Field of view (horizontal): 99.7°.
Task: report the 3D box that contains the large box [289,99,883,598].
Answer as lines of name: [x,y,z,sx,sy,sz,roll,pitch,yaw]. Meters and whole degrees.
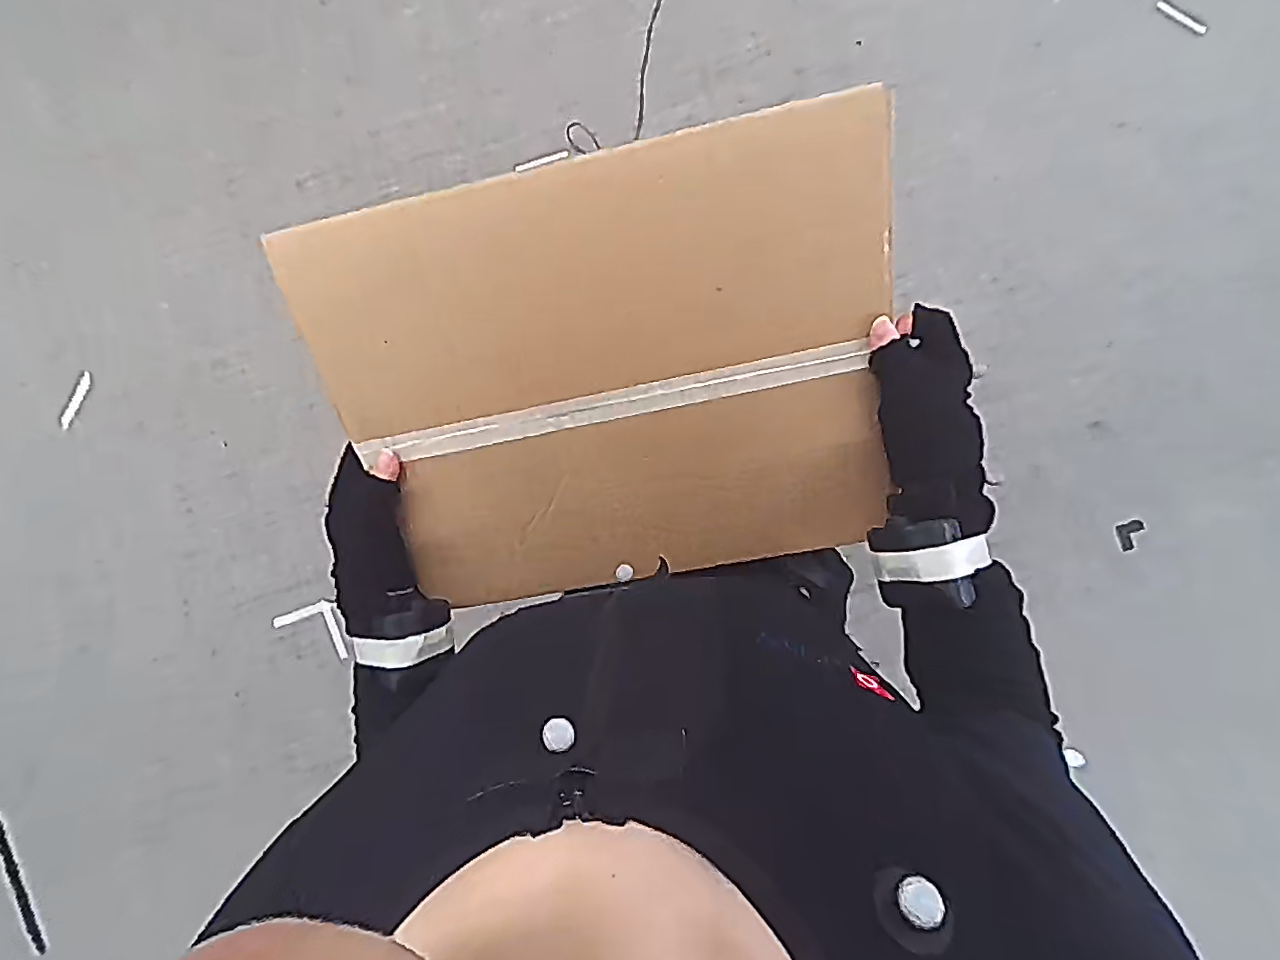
large box: [-0.017,-0.128,0.549,0.408,0.320,0.320,-11,114,6]
